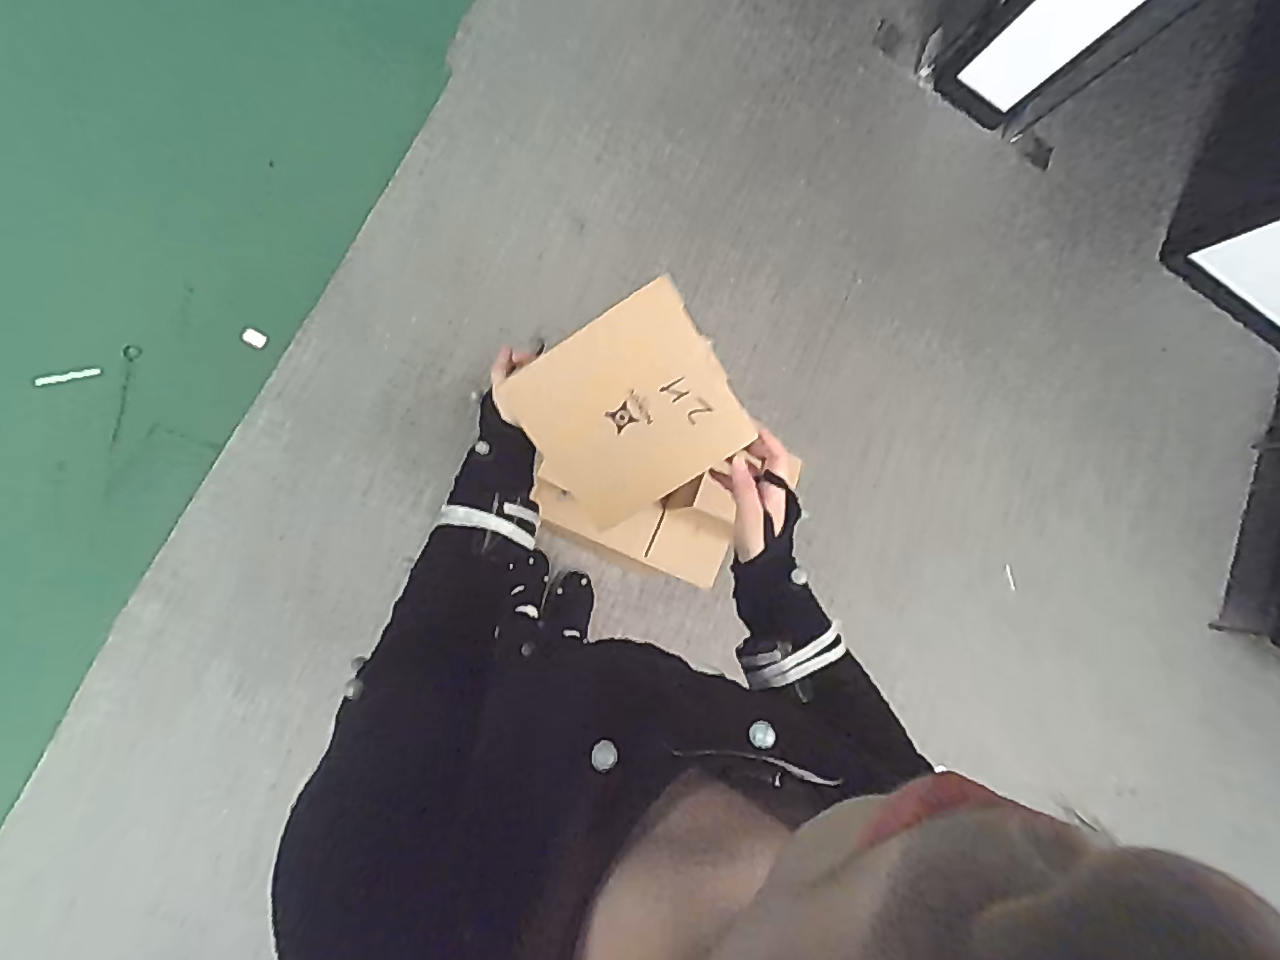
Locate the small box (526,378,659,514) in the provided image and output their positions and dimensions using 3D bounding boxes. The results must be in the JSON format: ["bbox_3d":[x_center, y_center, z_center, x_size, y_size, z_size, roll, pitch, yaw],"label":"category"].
[{"bbox_3d":[-0.093,-0.052,0.963,0.168,0.176,0.179,27,80,-14],"label":"small box"}]

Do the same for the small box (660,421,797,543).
[{"bbox_3d":[0.162,0.009,1.032,0.179,0.176,0.168,25,78,-11],"label":"small box"}]
